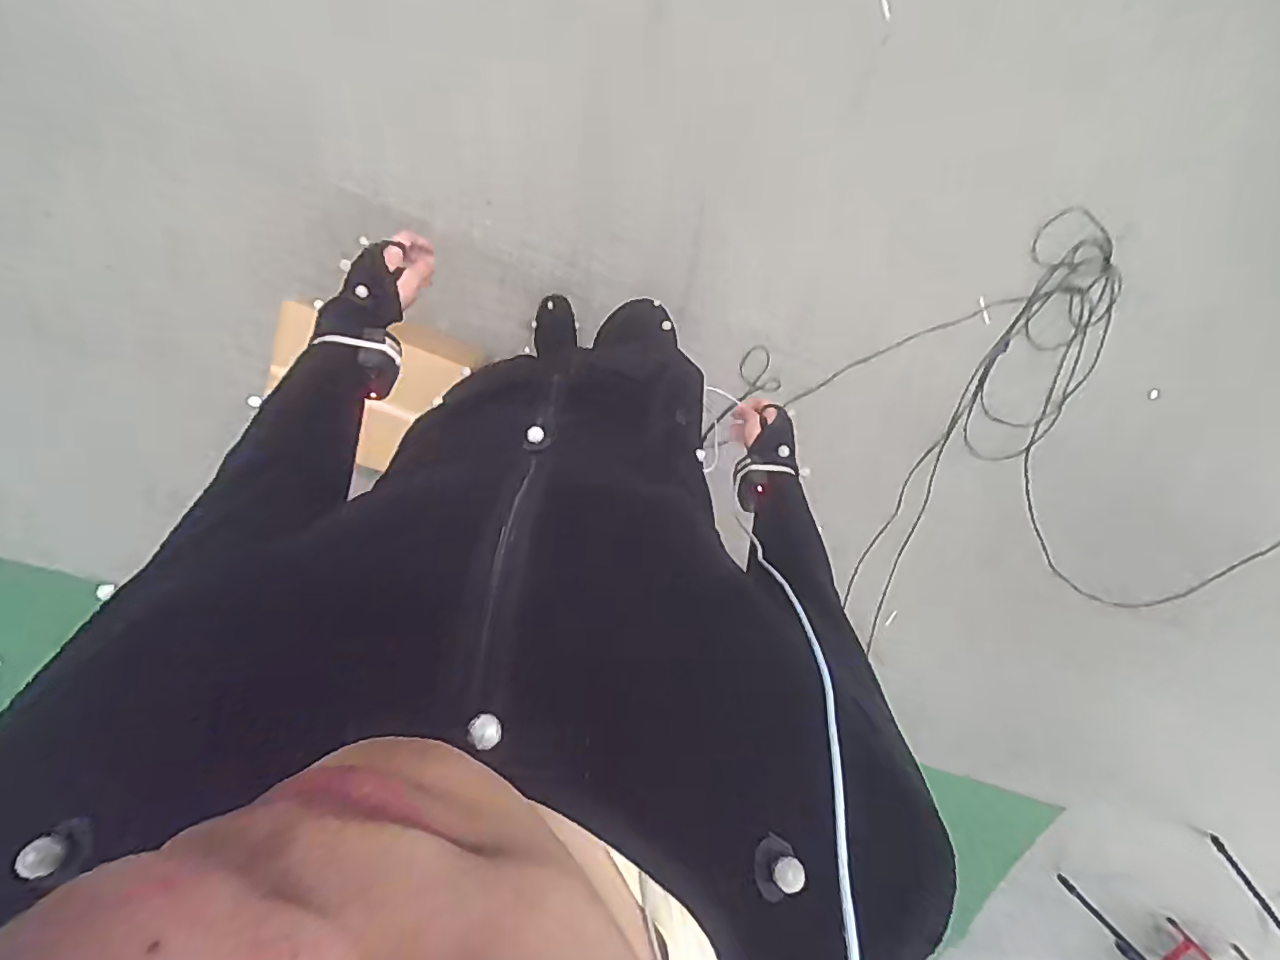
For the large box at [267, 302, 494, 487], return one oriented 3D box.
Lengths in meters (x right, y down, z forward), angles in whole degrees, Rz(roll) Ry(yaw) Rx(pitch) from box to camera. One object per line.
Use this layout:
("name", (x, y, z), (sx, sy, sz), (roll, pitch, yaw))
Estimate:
("large box", (-0.631, -0.227, 1.379), (0.408, 0.320, 0.320), (20, 105, -12))
